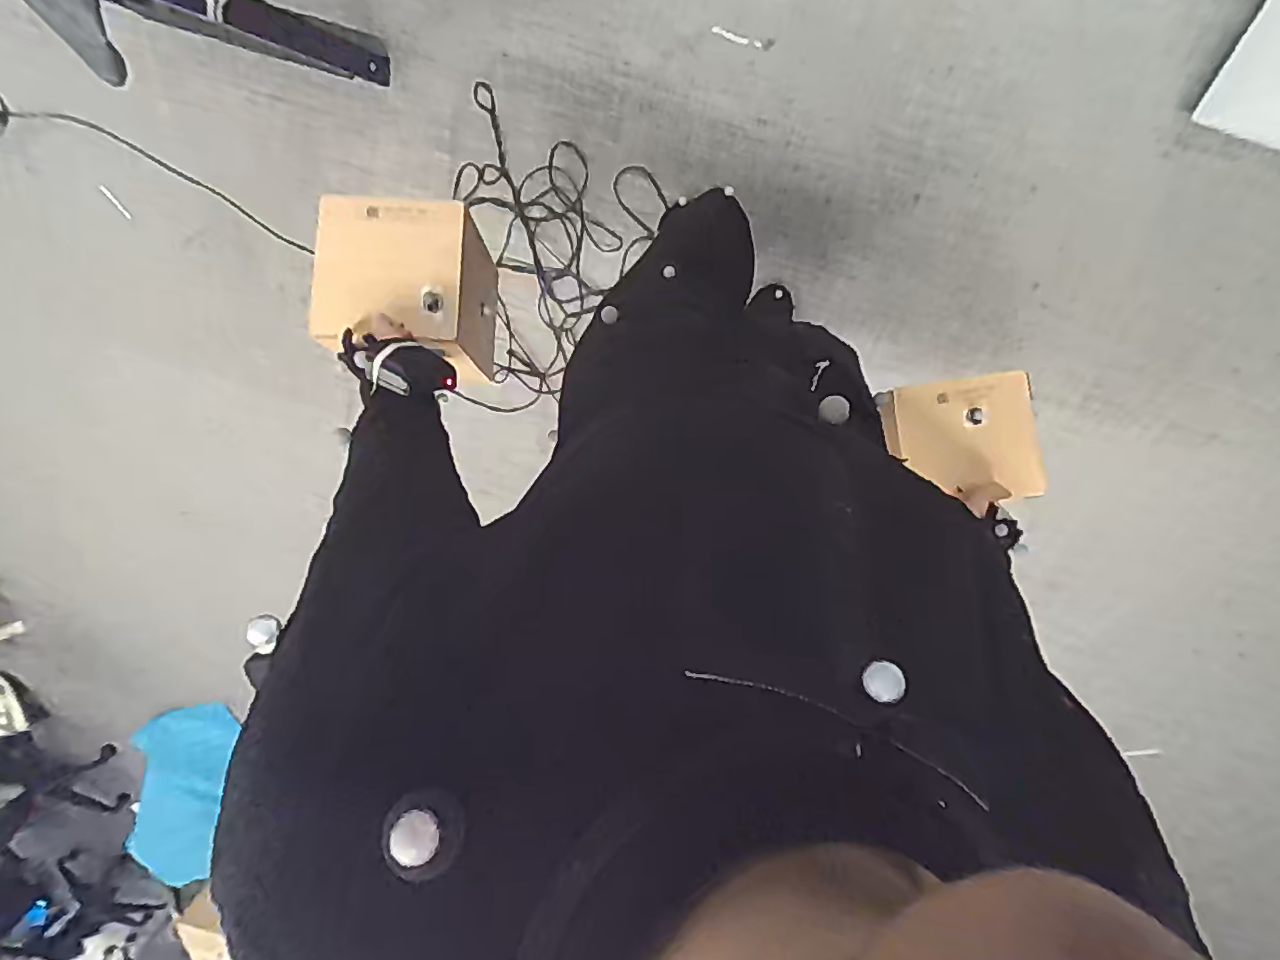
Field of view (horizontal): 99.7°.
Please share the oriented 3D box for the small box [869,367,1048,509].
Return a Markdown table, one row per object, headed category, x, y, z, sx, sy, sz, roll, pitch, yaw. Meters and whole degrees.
| category | x | y | z | sx | sy | sz | roll | pitch | yaw |
| --- | --- | --- | --- | --- | --- | --- | --- | --- | --- |
| small box | 0.438 | -0.052 | 0.775 | 0.168 | 0.179 | 0.176 | -7 | 83 | 10 |
